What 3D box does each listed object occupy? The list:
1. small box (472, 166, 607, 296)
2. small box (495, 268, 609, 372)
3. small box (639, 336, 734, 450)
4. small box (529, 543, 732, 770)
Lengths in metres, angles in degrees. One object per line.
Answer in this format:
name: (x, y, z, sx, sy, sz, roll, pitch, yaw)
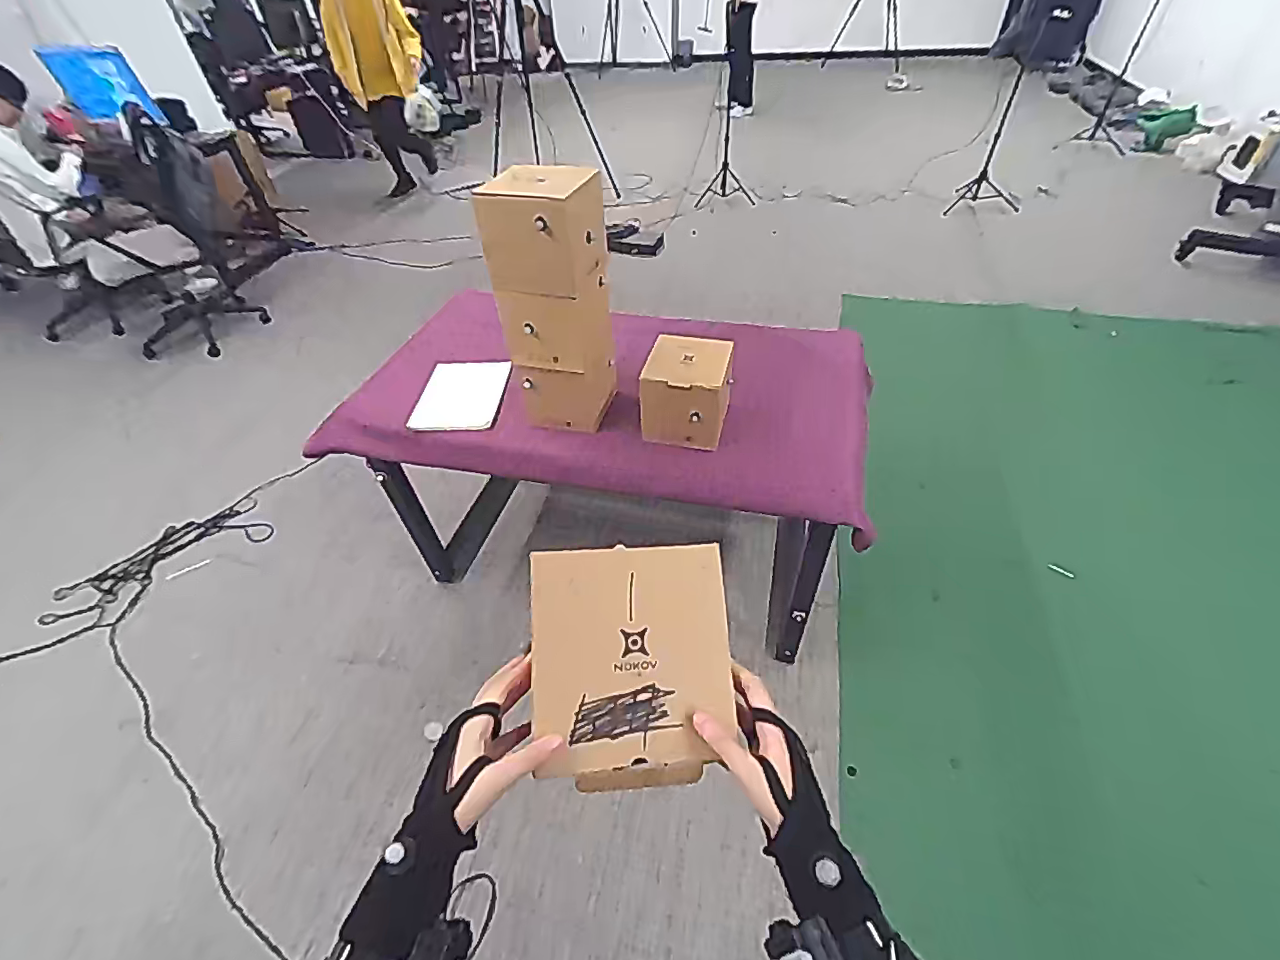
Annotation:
small box: (-0.169, -0.451, 0.982, 0.179, 0.176, 0.168, 11, 46, 15)
small box: (-0.168, -0.339, 1.105, 0.168, 0.176, 0.179, 10, 46, 13)
small box: (0.102, -0.186, 1.166, 0.168, 0.176, 0.179, 10, 46, 12)
small box: (-0.019, 0.160, 0.526, 0.168, 0.176, 0.179, -1, 75, -9)
